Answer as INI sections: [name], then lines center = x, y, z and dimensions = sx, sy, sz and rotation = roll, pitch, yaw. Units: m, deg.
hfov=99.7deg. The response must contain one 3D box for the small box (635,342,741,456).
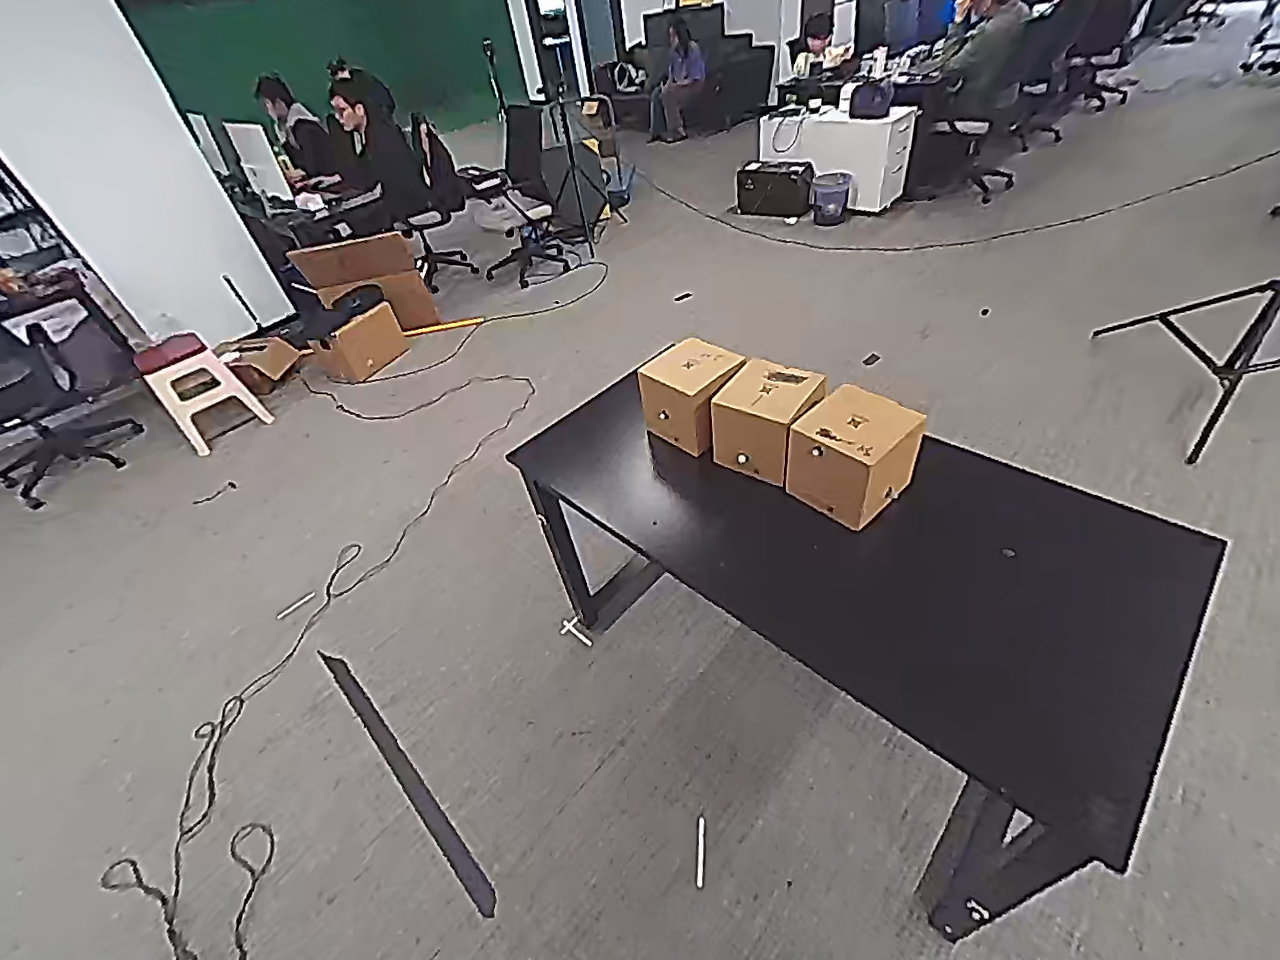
[small box]
center = 0.116, -0.182, 1.227
dimensions = 0.179, 0.176, 0.168
rotation = -37, 49, -26
